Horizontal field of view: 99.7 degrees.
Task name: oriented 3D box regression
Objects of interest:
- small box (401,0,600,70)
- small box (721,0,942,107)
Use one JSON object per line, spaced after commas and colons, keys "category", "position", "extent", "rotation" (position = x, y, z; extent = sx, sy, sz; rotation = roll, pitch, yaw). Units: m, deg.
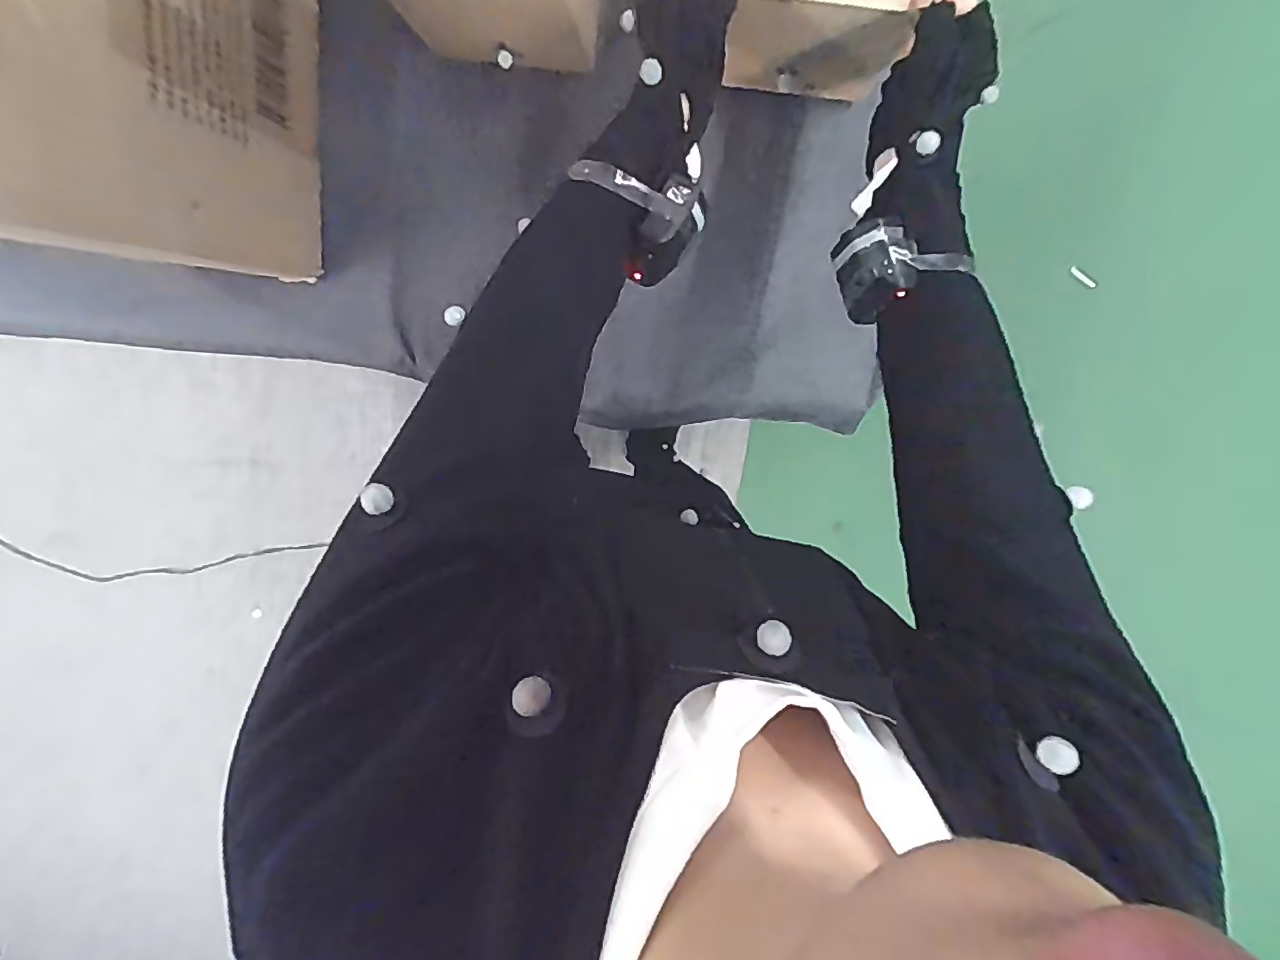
{"category": "small box", "position": [-0.125, -0.511, 0.494], "extent": [0.179, 0.176, 0.168], "rotation": [7, 104, 1]}
{"category": "small box", "position": [0.168, -0.470, 0.481], "extent": [0.168, 0.176, 0.179], "rotation": [7, 107, 3]}
